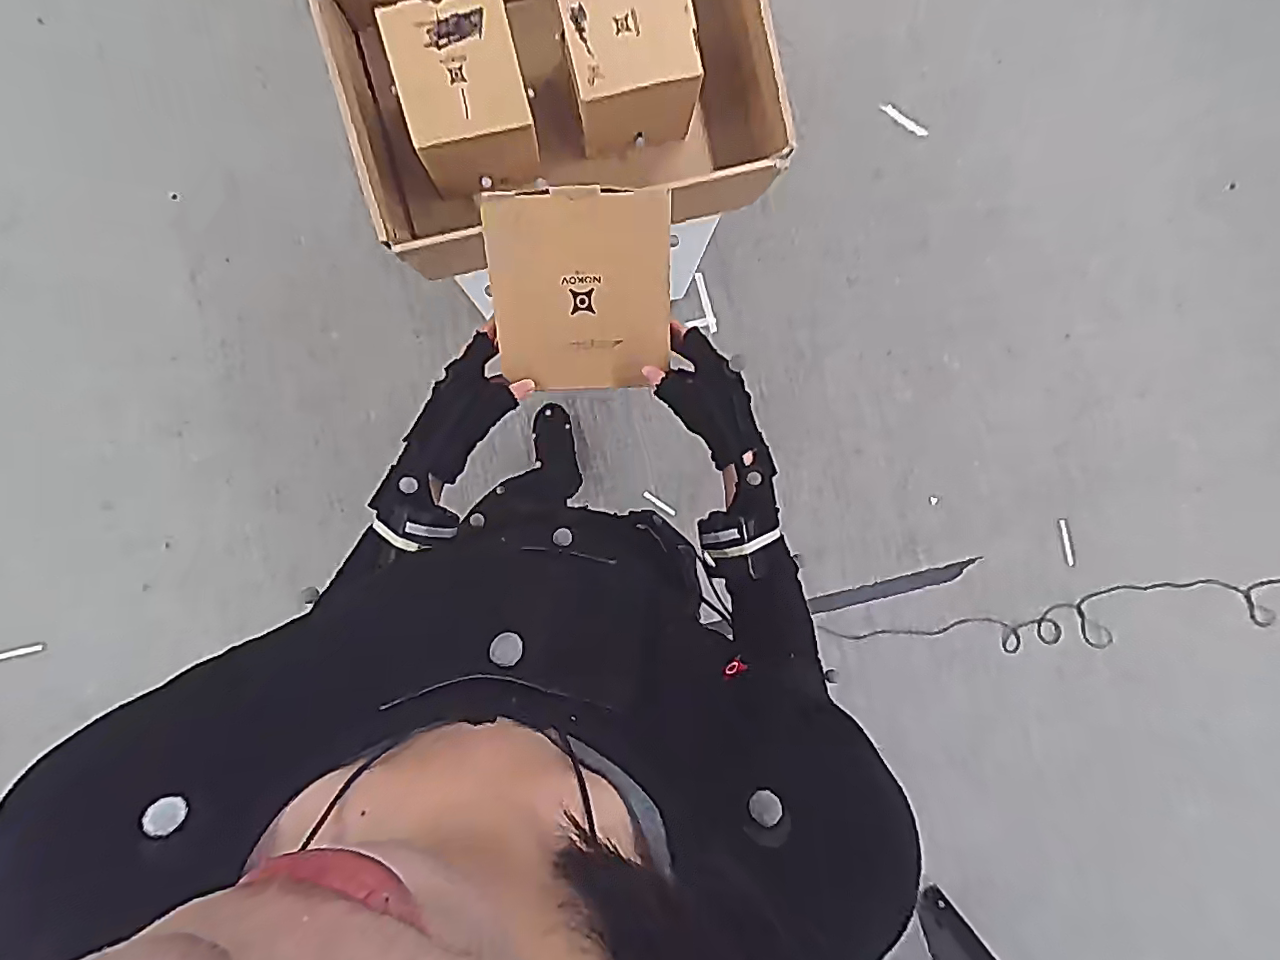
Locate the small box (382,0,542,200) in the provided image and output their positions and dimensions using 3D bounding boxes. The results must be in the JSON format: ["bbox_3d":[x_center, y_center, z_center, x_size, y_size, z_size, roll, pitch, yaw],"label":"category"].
[{"bbox_3d":[-0.248,-0.549,0.798,0.168,0.176,0.179,-15,97,-4],"label":"small box"}]

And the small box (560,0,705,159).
[{"bbox_3d":[-0.017,-0.619,0.813,0.179,0.176,0.168,-14,96,-2],"label":"small box"}]

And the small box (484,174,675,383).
[{"bbox_3d":[-0.055,-0.210,0.565,0.168,0.176,0.179,-3,116,-2],"label":"small box"}]
